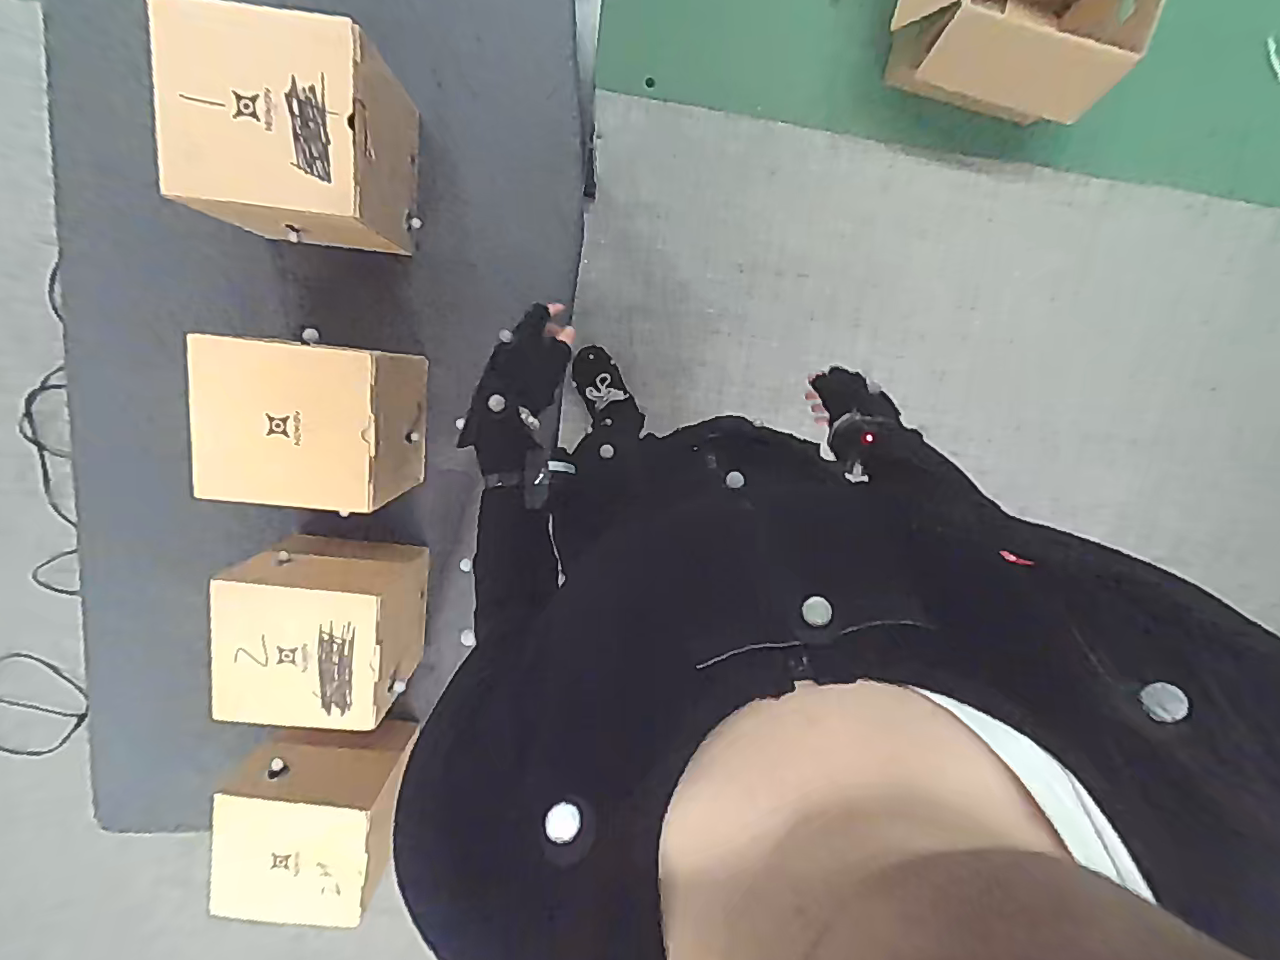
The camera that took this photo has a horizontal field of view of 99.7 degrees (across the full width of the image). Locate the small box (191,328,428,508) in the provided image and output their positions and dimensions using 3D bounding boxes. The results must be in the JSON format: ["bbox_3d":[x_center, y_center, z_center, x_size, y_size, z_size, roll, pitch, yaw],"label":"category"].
[{"bbox_3d":[-0.361,-0.072,0.618,0.179,0.176,0.168,5,100,-6],"label":"small box"}]

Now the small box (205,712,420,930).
[{"bbox_3d":[-0.411,0.427,0.702,0.179,0.176,0.168,9,100,-4],"label":"small box"}]

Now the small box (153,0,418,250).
[{"bbox_3d":[-0.345,-0.349,0.564,0.179,0.176,0.168,5,100,-4],"label":"small box"}]
